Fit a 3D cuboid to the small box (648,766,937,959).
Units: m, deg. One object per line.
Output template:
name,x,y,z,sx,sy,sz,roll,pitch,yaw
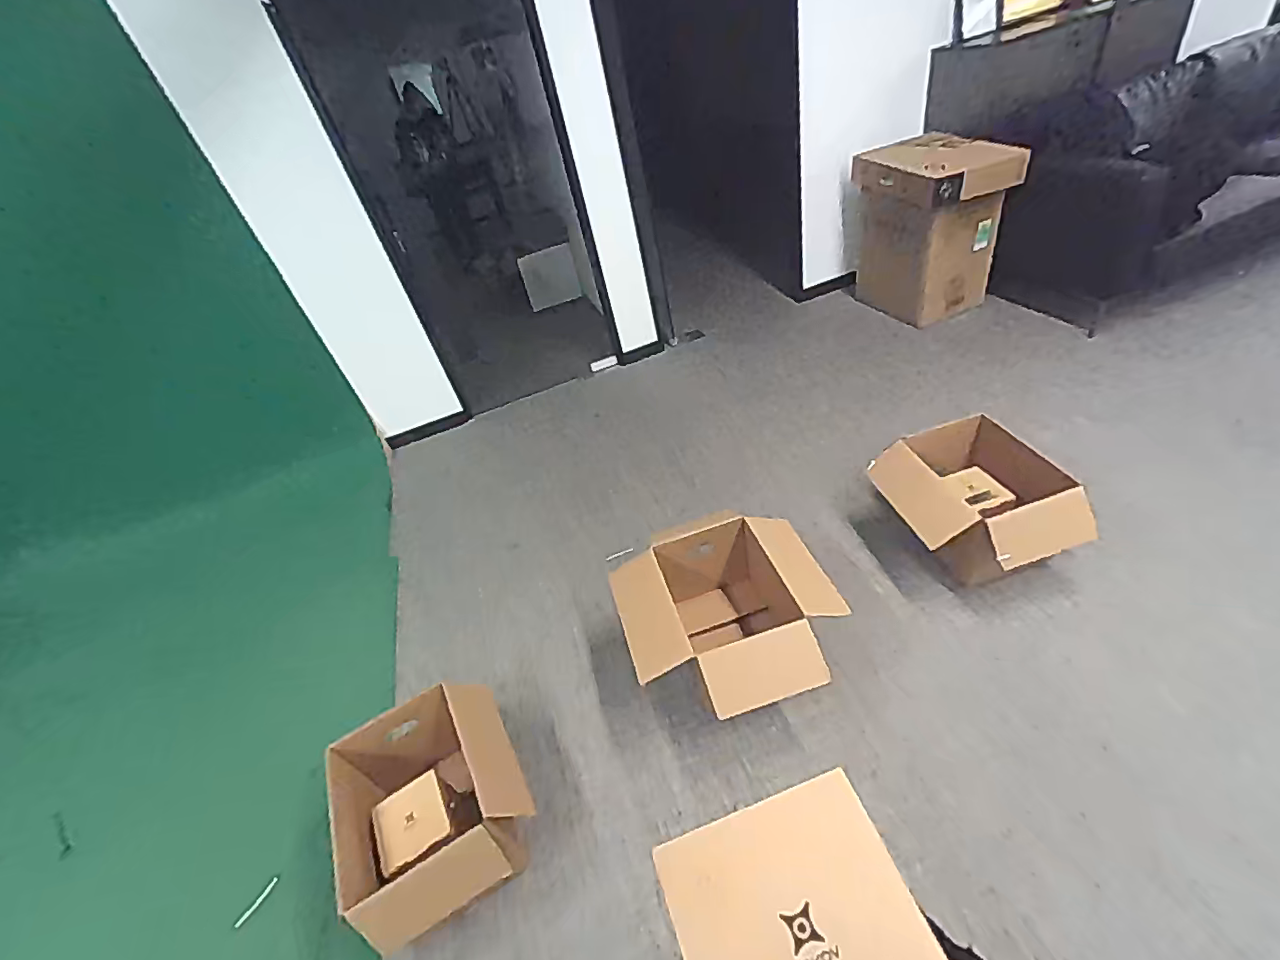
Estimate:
small box,0.112,0.364,0.428,0.168,0.176,0.179,-17,50,-9
